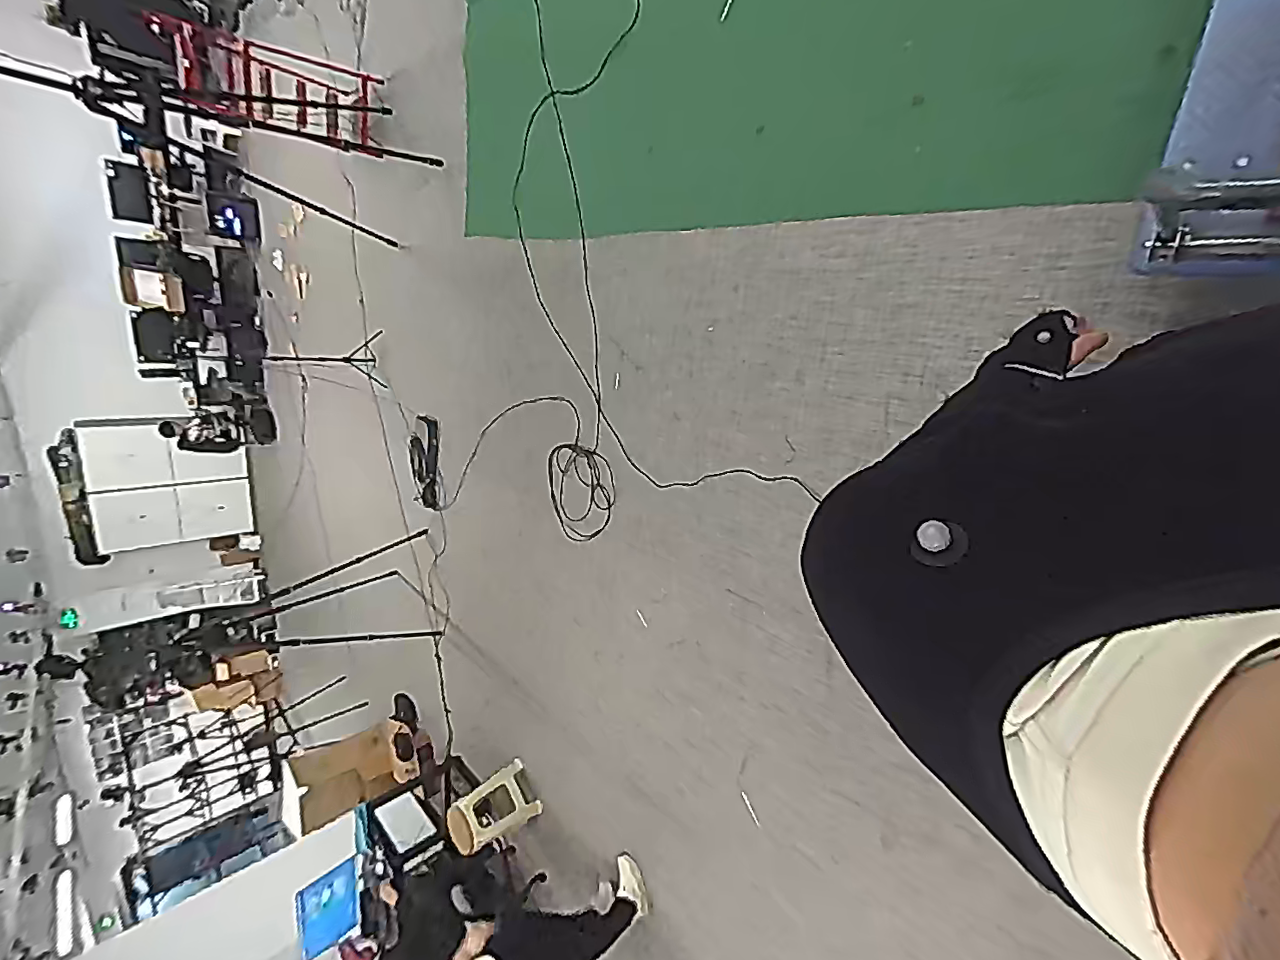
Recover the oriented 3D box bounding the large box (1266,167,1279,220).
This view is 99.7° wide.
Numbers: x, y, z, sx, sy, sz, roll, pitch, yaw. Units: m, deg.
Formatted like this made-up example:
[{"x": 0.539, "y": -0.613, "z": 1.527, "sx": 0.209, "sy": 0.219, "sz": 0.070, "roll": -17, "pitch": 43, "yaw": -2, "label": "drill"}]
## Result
[{"x": 1.115, "y": -0.597, "z": 0.699, "sx": 0.320, "sy": 0.320, "sz": 0.408, "roll": 19, "pitch": 109, "yaw": 41, "label": "large box"}]
